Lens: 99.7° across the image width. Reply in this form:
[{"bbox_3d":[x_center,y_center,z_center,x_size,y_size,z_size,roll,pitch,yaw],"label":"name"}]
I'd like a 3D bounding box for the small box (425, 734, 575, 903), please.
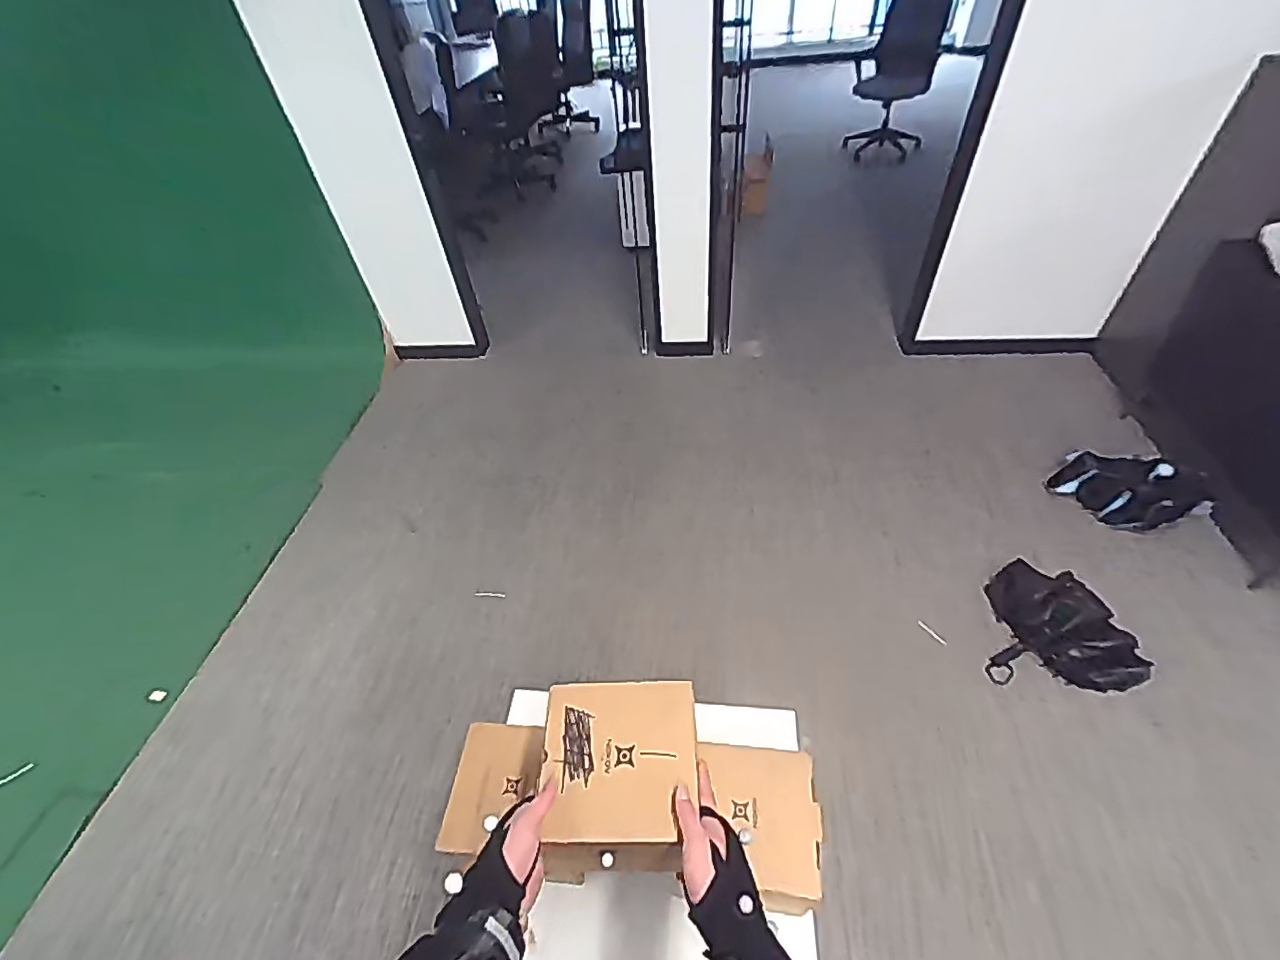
[{"bbox_3d":[-0.171,0.480,0.766,0.179,0.176,0.168,1,44,3],"label":"small box"}]

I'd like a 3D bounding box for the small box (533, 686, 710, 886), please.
[{"bbox_3d":[-0.013,0.358,0.631,0.179,0.176,0.168,-3,45,2],"label":"small box"}]

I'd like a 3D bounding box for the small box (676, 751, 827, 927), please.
[{"bbox_3d":[0.142,0.493,0.742,0.179,0.176,0.168,2,45,6],"label":"small box"}]
